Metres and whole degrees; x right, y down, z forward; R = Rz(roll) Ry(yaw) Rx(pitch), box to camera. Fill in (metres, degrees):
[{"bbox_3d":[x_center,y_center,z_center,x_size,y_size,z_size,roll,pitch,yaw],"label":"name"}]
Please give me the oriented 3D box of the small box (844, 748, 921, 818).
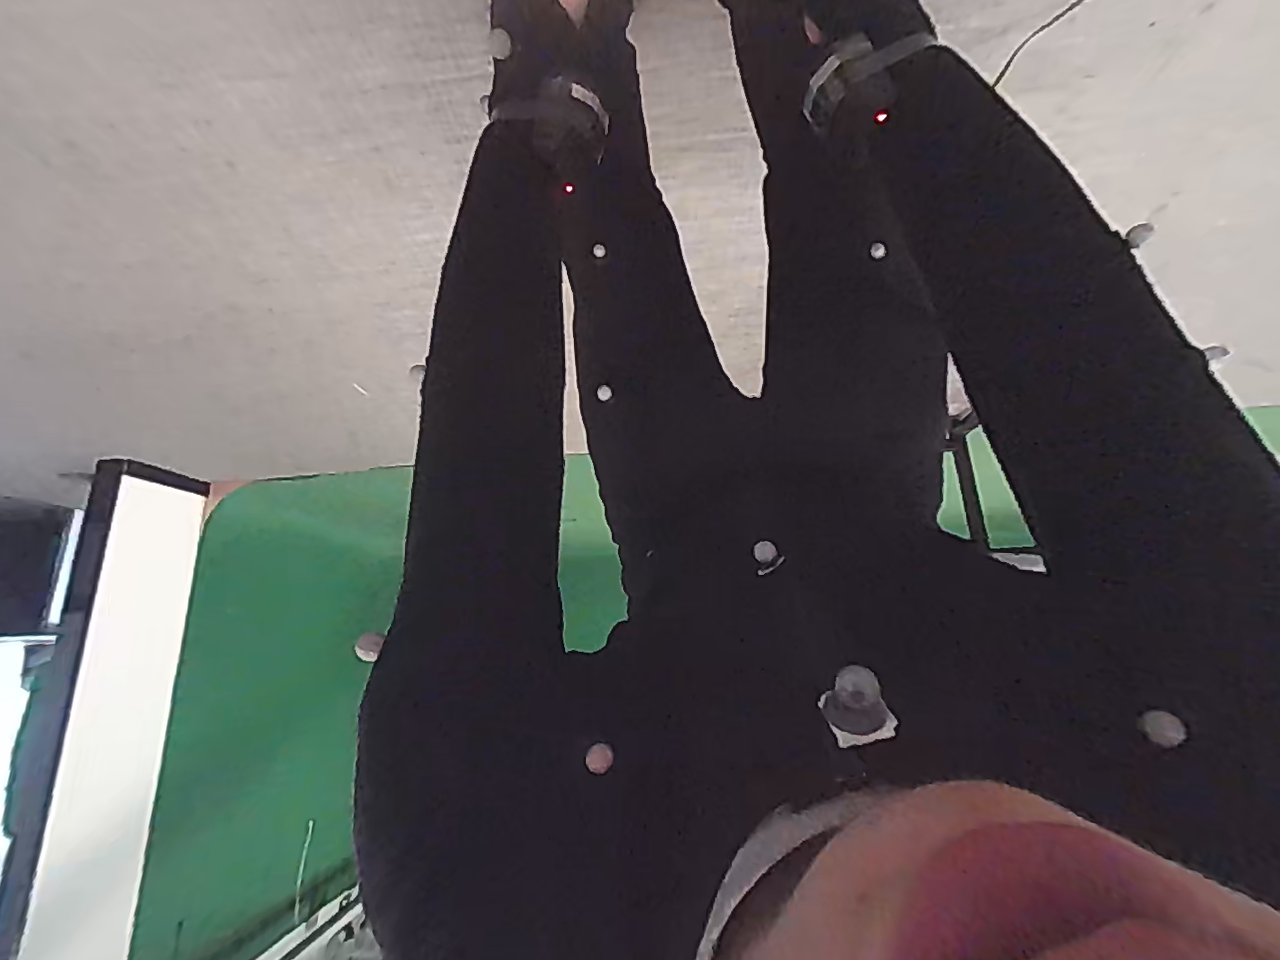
[{"bbox_3d":[0.819,1.026,1.847,0.168,0.176,0.179,2,163,-16],"label":"small box"}]
